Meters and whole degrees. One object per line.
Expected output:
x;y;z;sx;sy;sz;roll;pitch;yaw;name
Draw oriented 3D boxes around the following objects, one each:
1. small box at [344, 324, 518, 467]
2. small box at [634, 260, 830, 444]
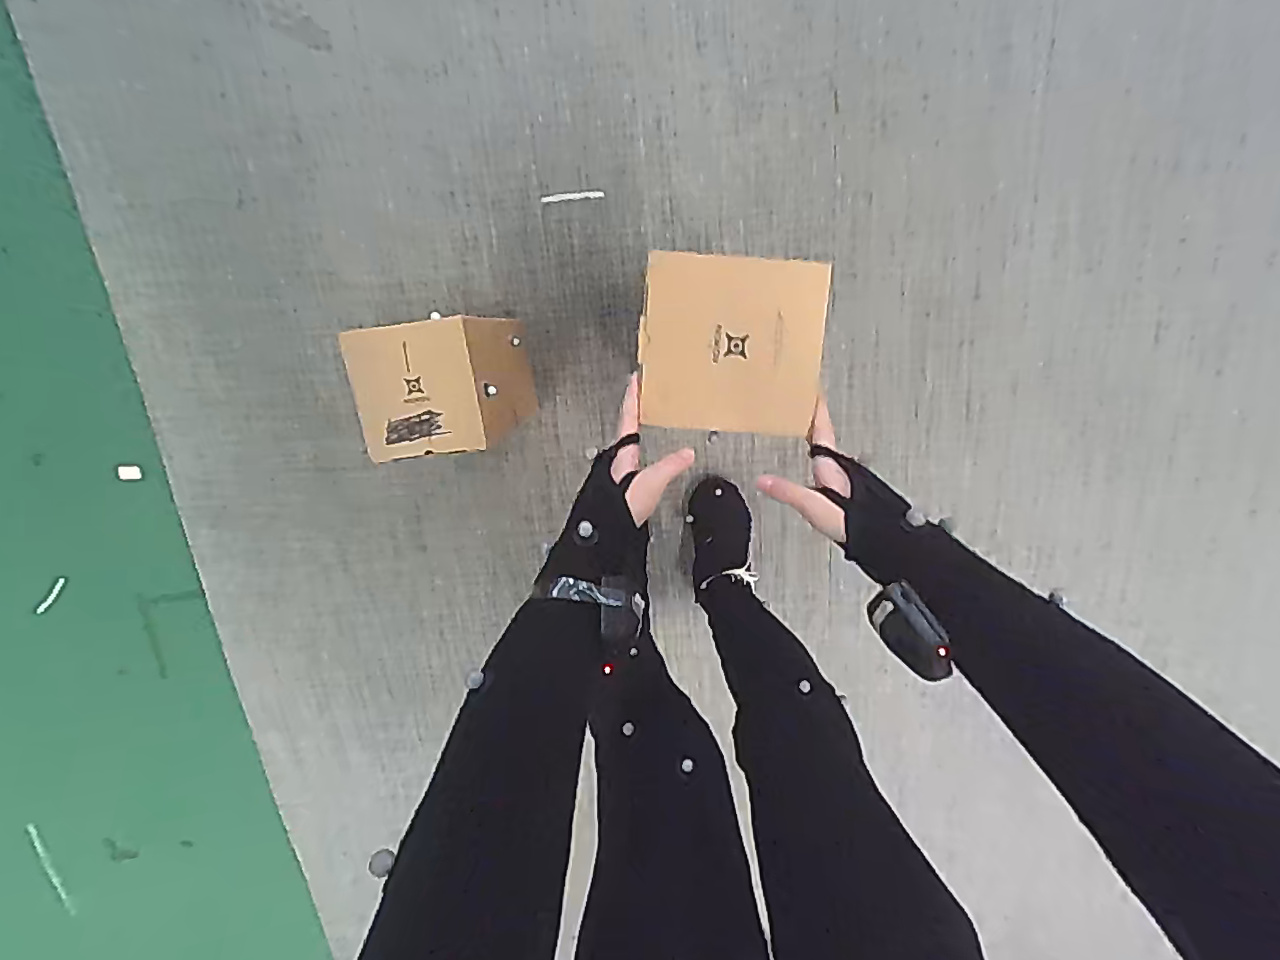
-0.290;-0.130;0.793;0.168;0.176;0.179;-7;105;3;small box
0.088;-0.129;0.596;0.179;0.176;0.168;4;96;0;small box
